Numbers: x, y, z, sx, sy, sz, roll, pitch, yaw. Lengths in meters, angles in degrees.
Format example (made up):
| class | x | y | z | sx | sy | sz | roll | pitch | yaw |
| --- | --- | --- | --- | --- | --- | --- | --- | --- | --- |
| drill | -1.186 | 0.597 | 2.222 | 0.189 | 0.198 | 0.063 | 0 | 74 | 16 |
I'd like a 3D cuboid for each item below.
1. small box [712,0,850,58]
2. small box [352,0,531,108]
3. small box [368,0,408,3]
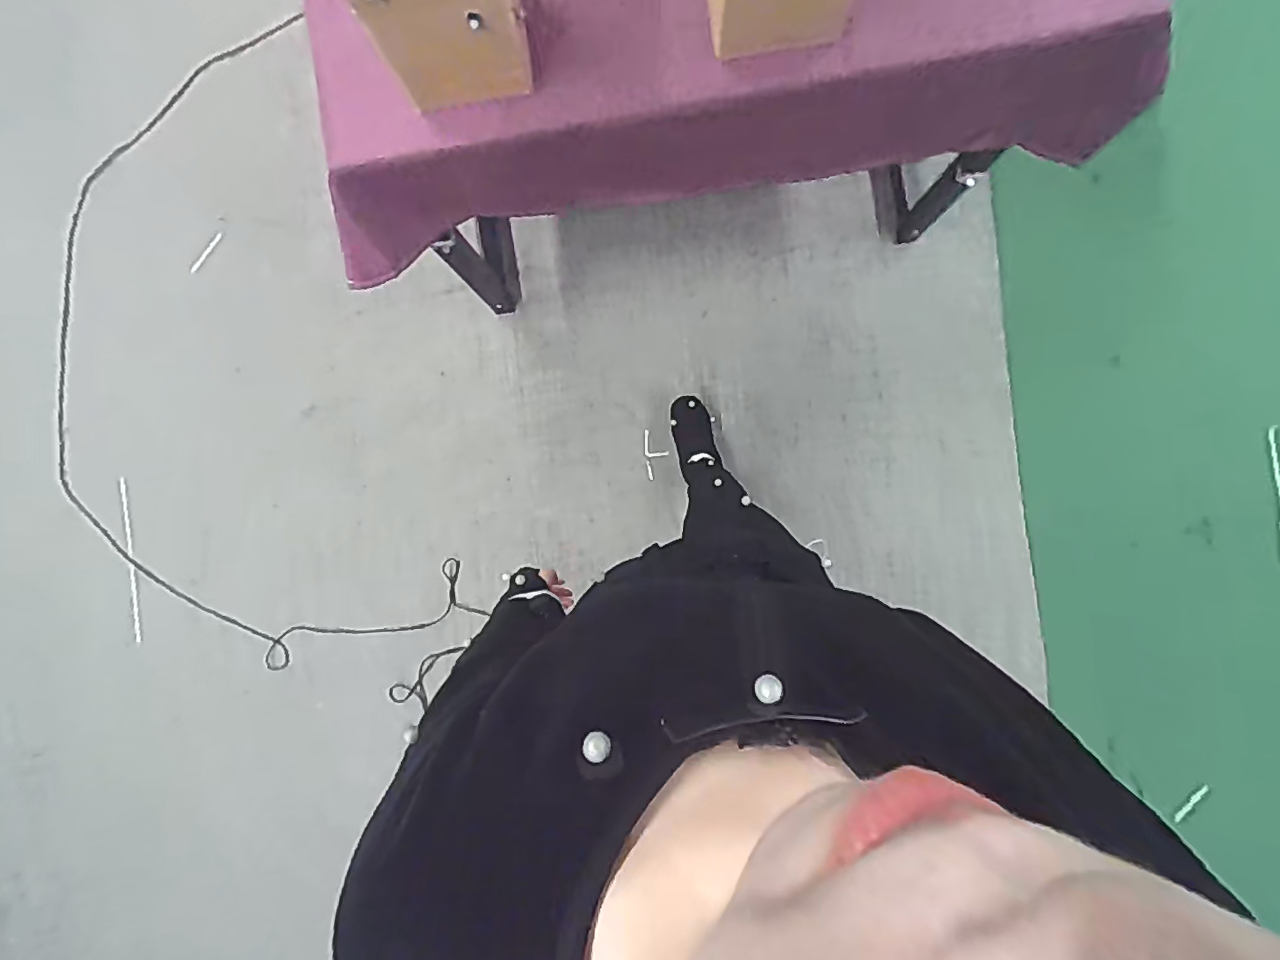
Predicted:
| class | x | y | z | sx | sy | sz | roll | pitch | yaw |
| --- | --- | --- | --- | --- | --- | --- | --- | --- | --- |
| small box | 0.181 | -0.686 | 0.692 | 0.179 | 0.176 | 0.168 | -7 | 89 | 2 |
| small box | -0.255 | -0.629 | 0.710 | 0.179 | 0.176 | 0.168 | -8 | 88 | 1 |
| small box | -0.260 | -0.634 | 0.546 | 0.168 | 0.176 | 0.179 | -9 | 87 | 1 |
